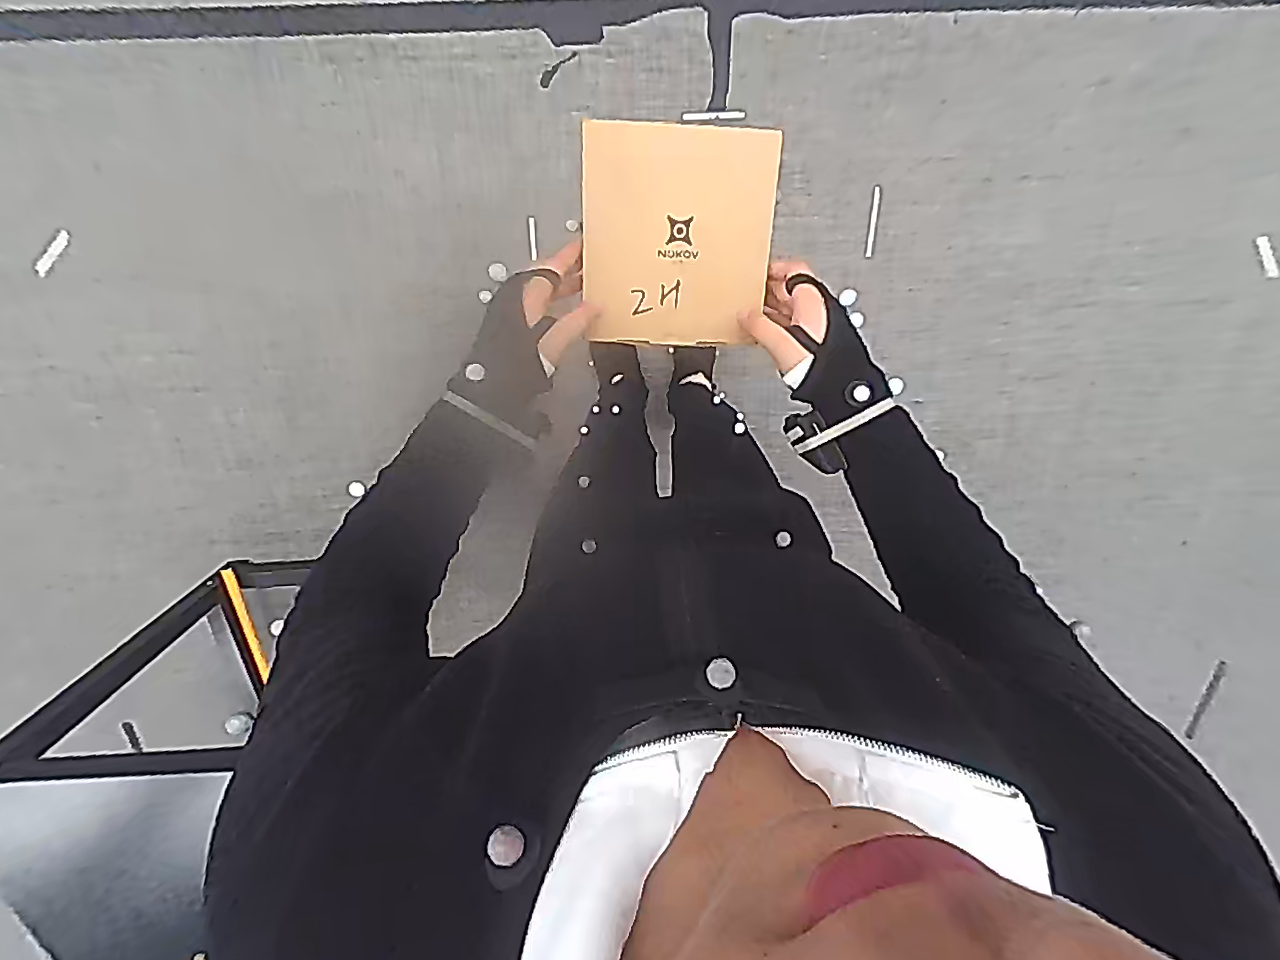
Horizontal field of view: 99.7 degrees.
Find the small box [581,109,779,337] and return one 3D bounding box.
[{"bbox_3d":[0.024,-0.245,0.541,0.168,0.176,0.179,0,113,-5],"label":"small box"}]
